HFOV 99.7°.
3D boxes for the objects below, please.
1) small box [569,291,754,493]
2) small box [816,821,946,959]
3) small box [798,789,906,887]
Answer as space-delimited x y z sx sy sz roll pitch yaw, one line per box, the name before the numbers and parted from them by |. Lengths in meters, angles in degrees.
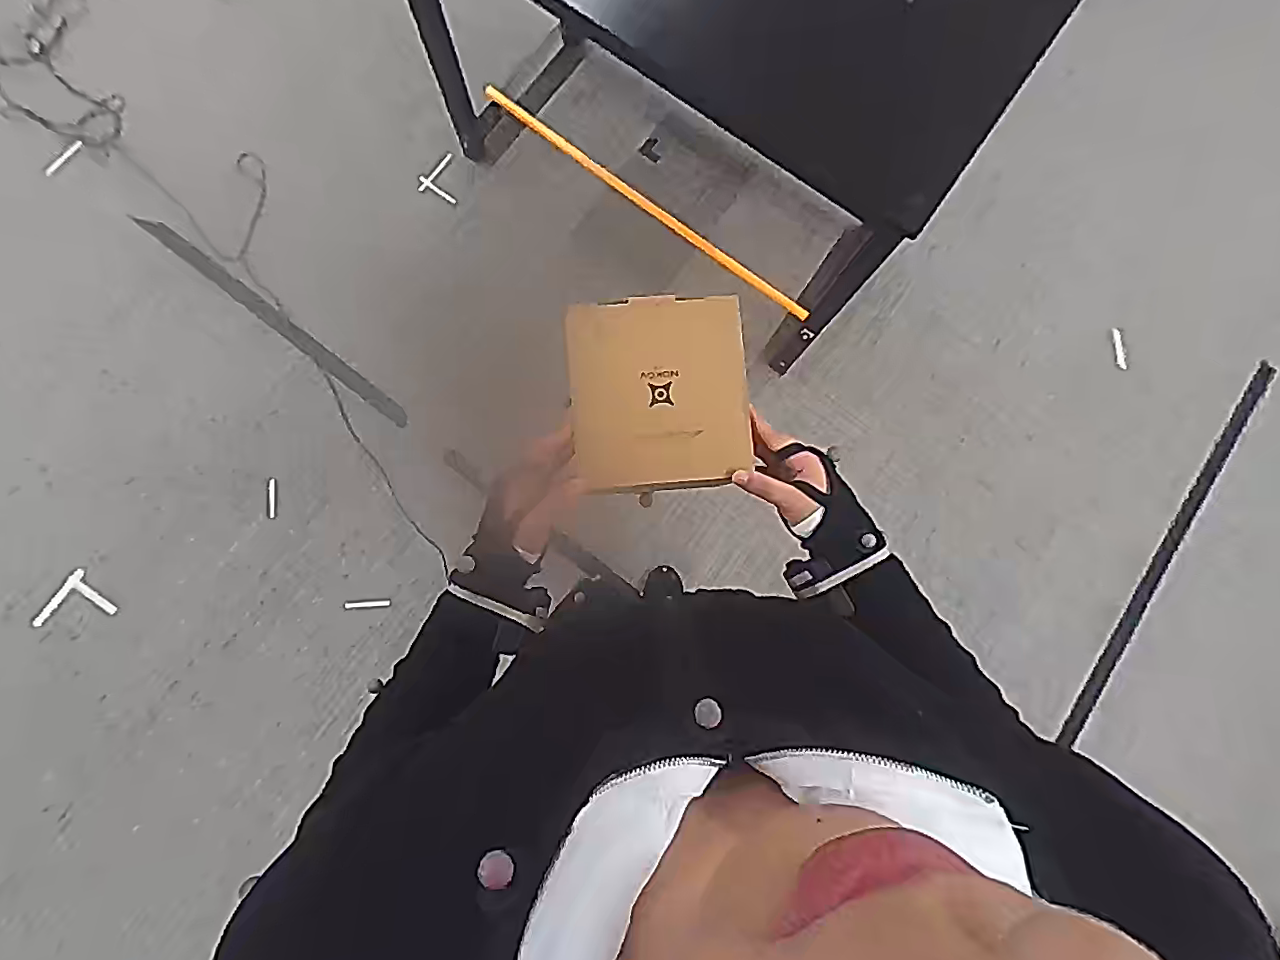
small box | 0.014 -0.082 0.581 0.168 0.176 0.179 -5 86 -4
small box | 0.517 0.891 1.186 0.179 0.176 0.168 29 82 3
small box | 0.516 0.920 1.347 0.168 0.176 0.179 30 82 2
